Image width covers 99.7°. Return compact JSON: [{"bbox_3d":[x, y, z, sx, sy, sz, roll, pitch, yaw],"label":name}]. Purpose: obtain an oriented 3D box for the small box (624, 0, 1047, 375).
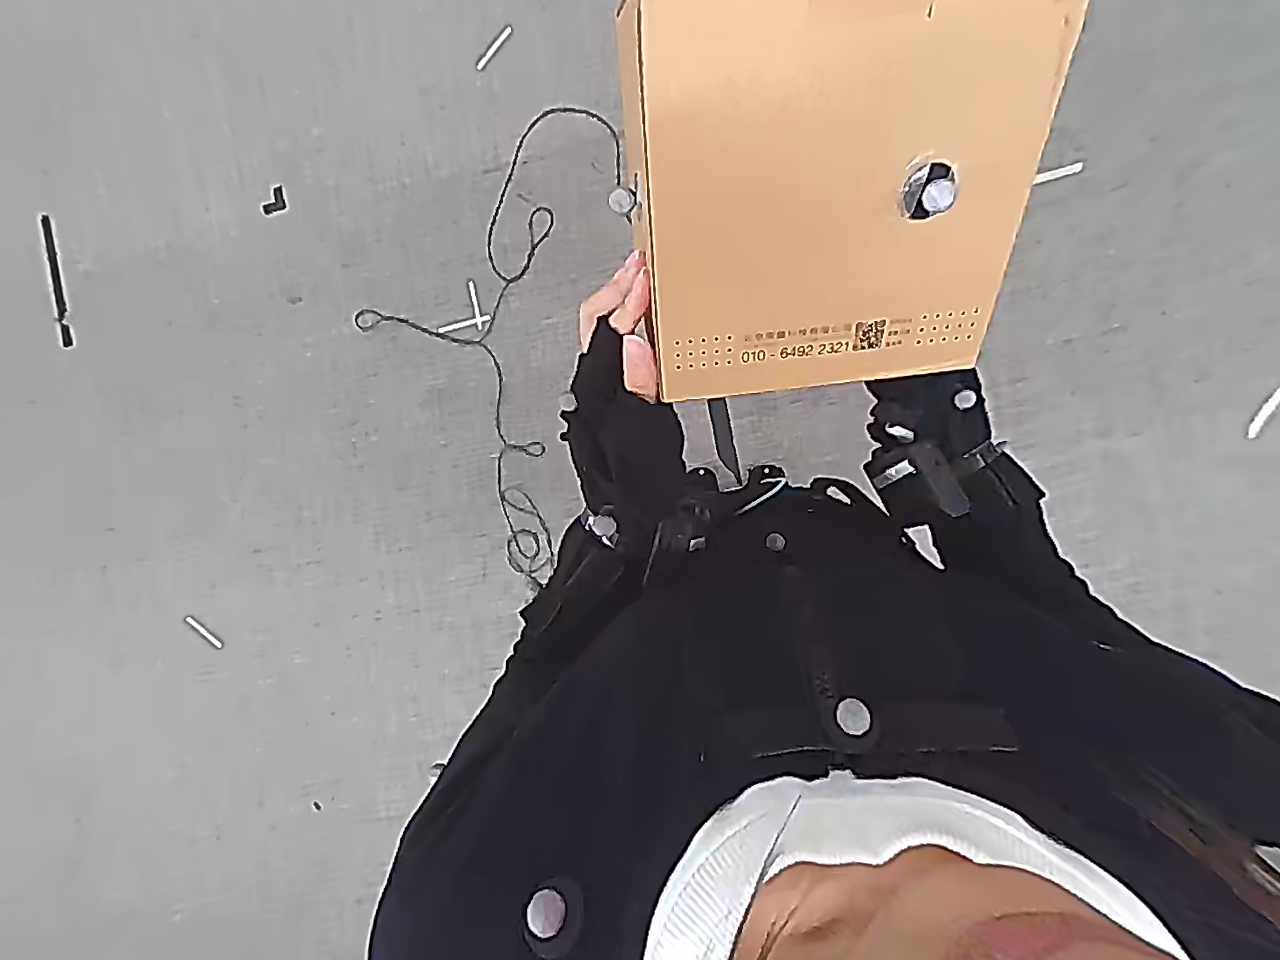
[{"bbox_3d":[0.082,-0.170,0.319,0.168,0.179,0.176,-6,127,-1],"label":"small box"}]
